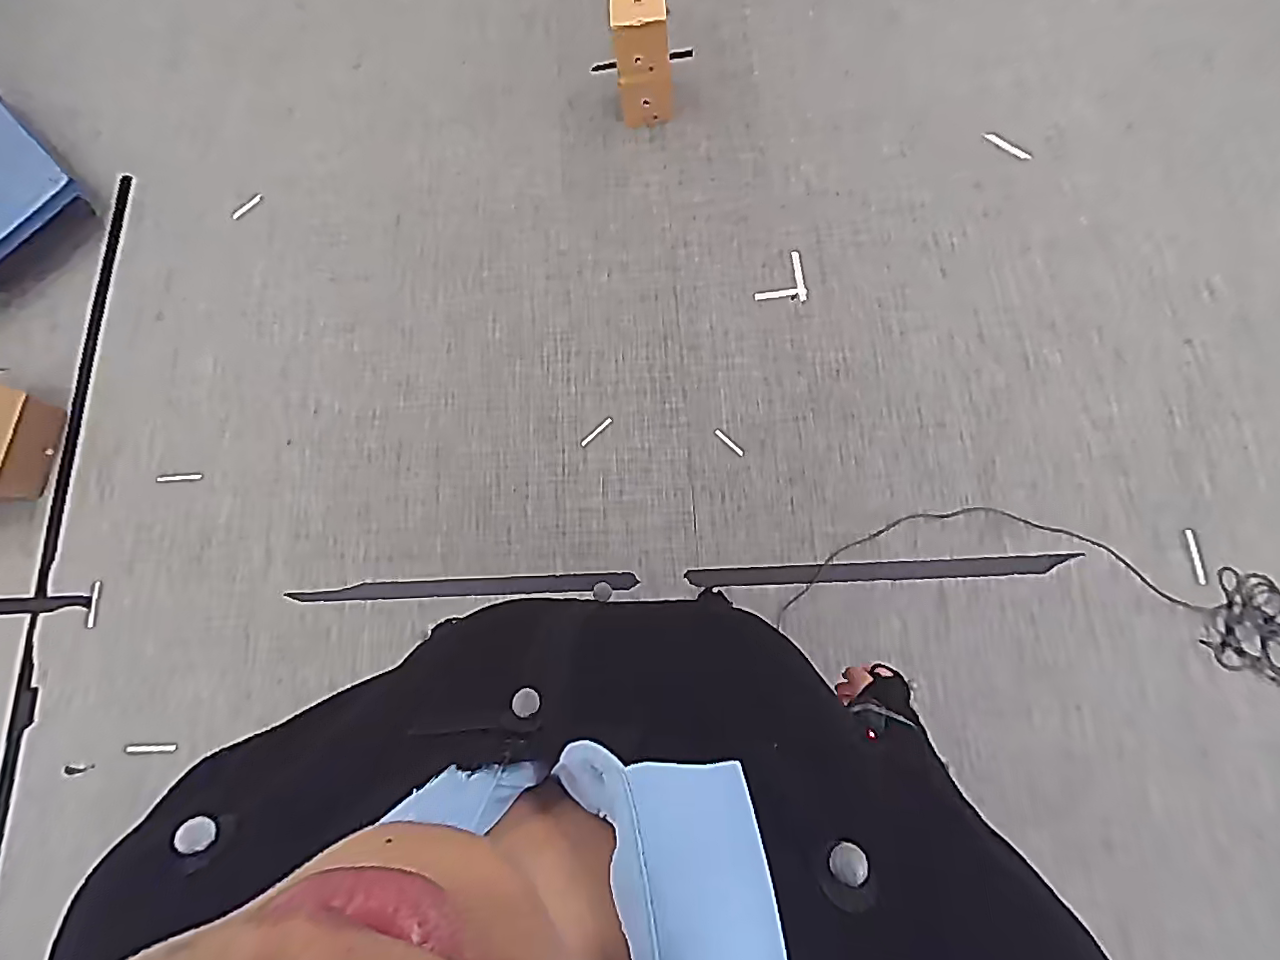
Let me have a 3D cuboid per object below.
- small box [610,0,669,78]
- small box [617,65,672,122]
[{"bbox_3d":[0.001,-1.383,1.655,0.168,0.176,0.179,-4,77,5],"label":"small box"},{"bbox_3d":[0.015,-1.336,1.811,0.168,0.176,0.179,-6,76,4],"label":"small box"}]
